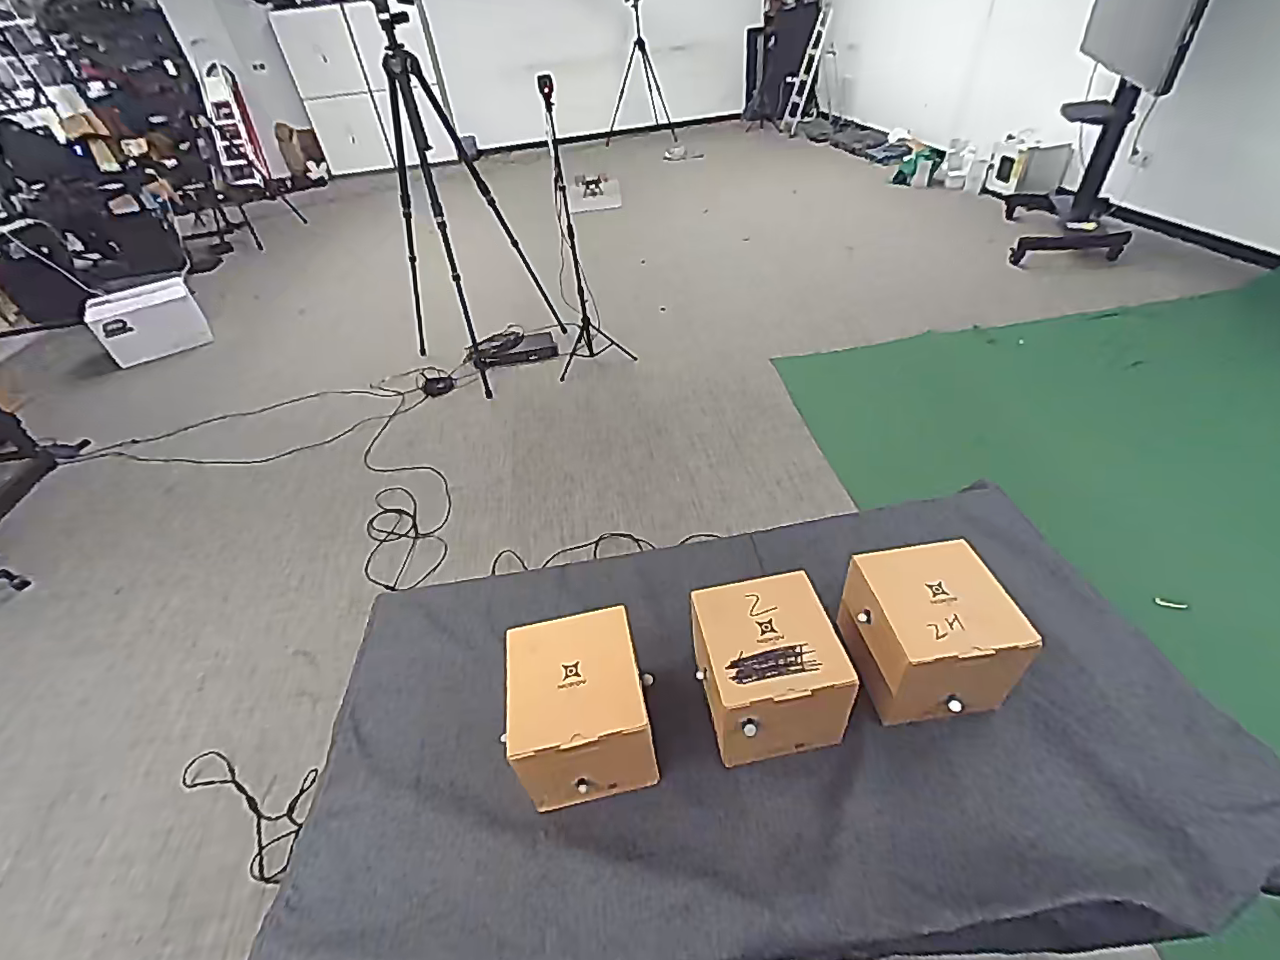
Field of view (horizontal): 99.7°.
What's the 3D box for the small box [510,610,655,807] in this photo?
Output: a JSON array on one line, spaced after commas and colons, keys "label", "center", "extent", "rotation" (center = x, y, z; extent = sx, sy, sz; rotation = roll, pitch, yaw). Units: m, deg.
[{"label": "small box", "center": [-0.077, 0.310, 0.740], "extent": [0.168, 0.176, 0.179], "rotation": [-10, 41, -4]}]
